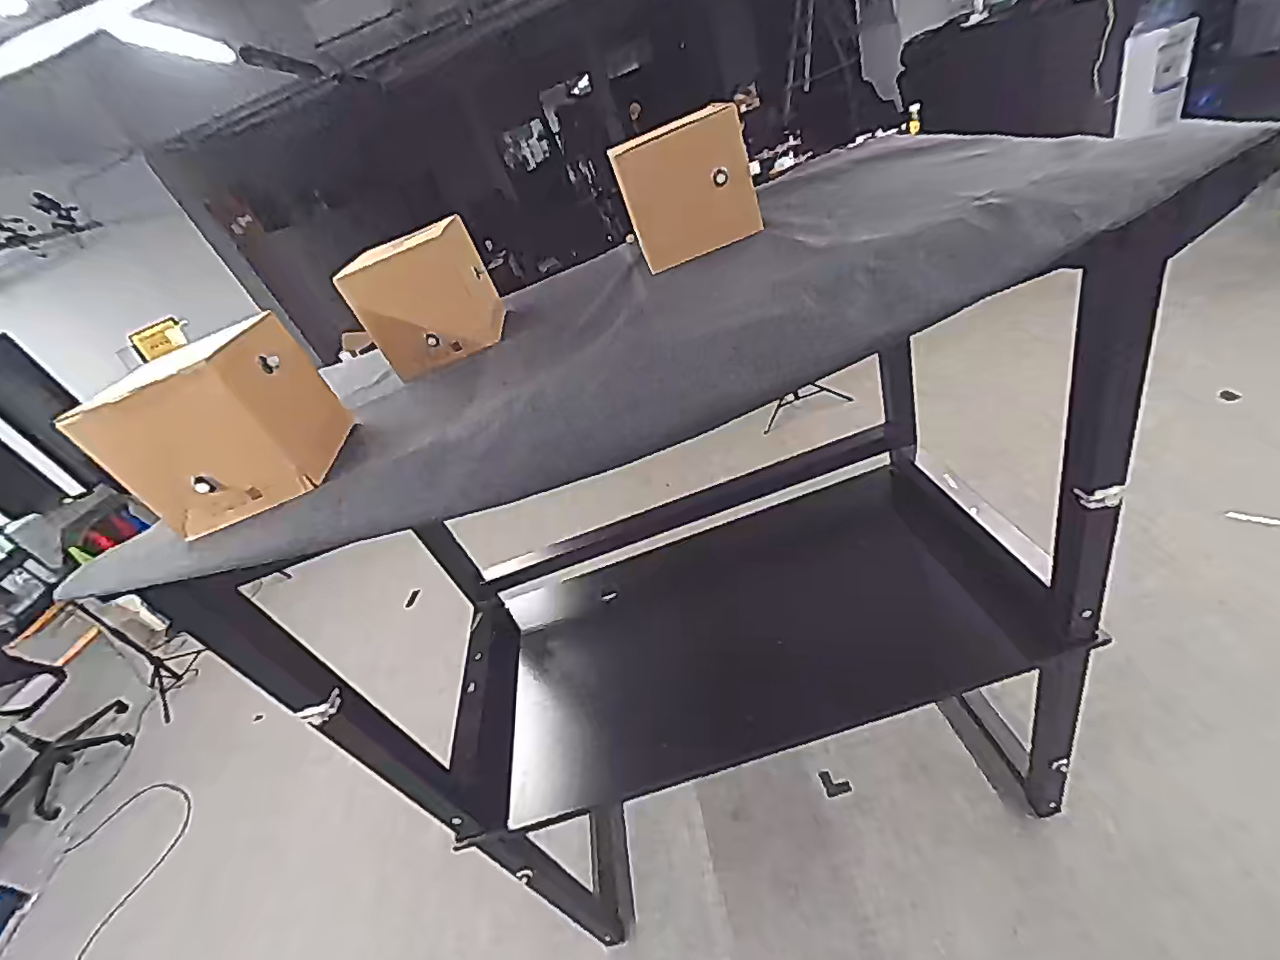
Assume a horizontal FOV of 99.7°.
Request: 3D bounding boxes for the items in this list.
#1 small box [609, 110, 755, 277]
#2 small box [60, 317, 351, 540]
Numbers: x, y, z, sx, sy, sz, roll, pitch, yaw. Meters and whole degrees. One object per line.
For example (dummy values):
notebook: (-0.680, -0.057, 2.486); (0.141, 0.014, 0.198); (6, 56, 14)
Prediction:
small box: (0.066, -0.436, 0.824); (0.179, 0.176, 0.168); (-19, 33, 6)
small box: (-0.474, -0.062, 0.632); (0.168, 0.176, 0.179); (-23, 34, 2)
